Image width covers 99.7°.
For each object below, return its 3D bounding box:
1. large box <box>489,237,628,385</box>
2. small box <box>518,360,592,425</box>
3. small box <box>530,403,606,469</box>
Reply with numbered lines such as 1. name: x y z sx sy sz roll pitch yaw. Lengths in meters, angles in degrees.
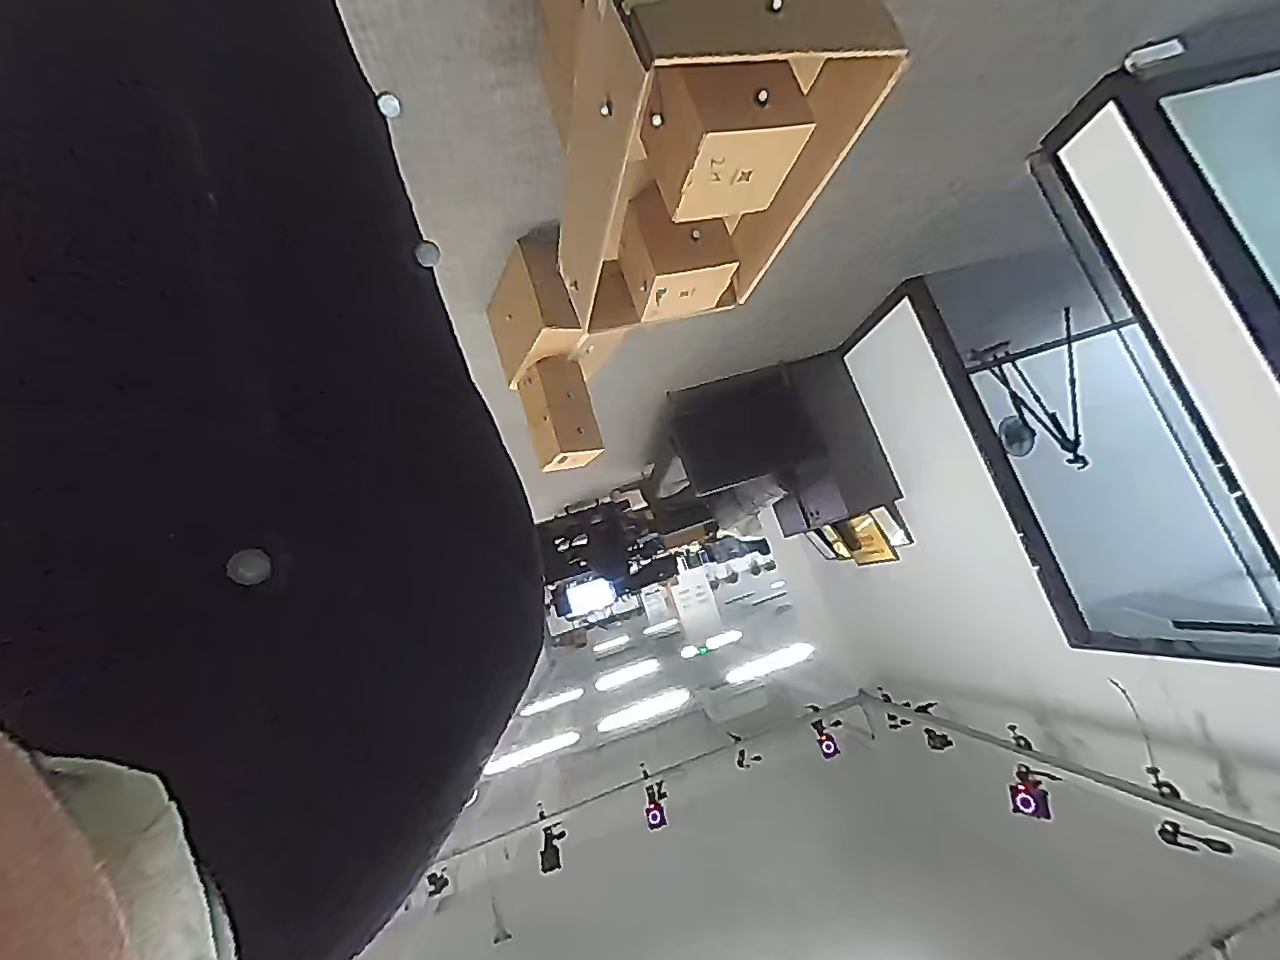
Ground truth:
1. large box: -0.298 -0.566 1.862 0.320 0.320 0.408 -13 168 -32
2. small box: -0.297 -0.303 1.871 0.179 0.176 0.168 -8 165 -38
3. small box: -0.250 -0.151 1.833 0.179 0.176 0.168 -10 166 -39
